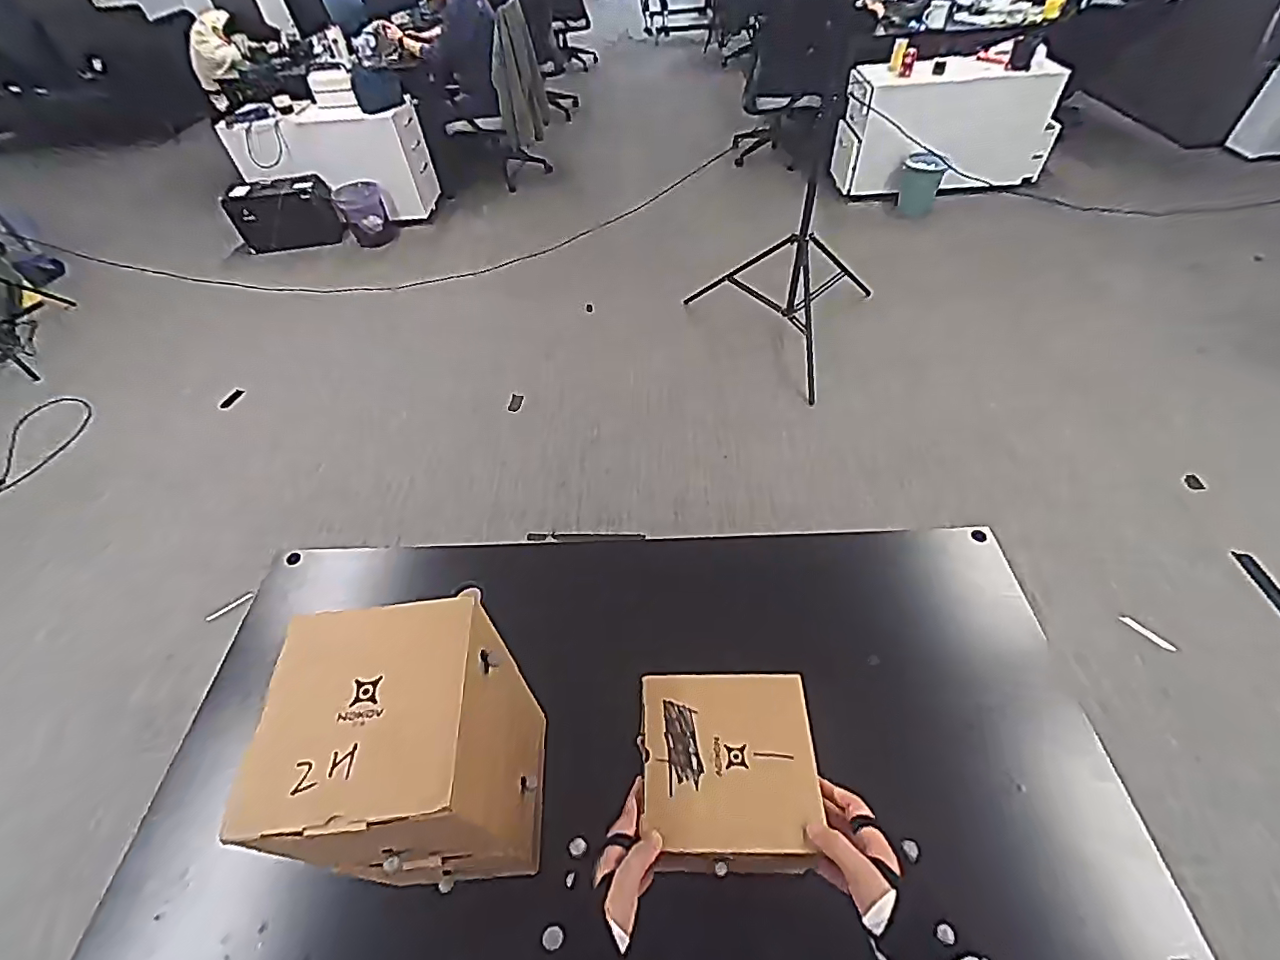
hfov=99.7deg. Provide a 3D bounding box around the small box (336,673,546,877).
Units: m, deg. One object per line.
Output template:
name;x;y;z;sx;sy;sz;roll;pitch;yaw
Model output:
small box;-0.208;0.345;0.625;0.168;0.176;0.179;-6;49;0

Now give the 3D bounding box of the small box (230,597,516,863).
small box;-0.217;0.233;0.503;0.168;0.176;0.179;-7;49;-1

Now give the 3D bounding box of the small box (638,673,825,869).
small box;0.092;0.331;0.612;0.179;0.176;0.168;-1;49;3
